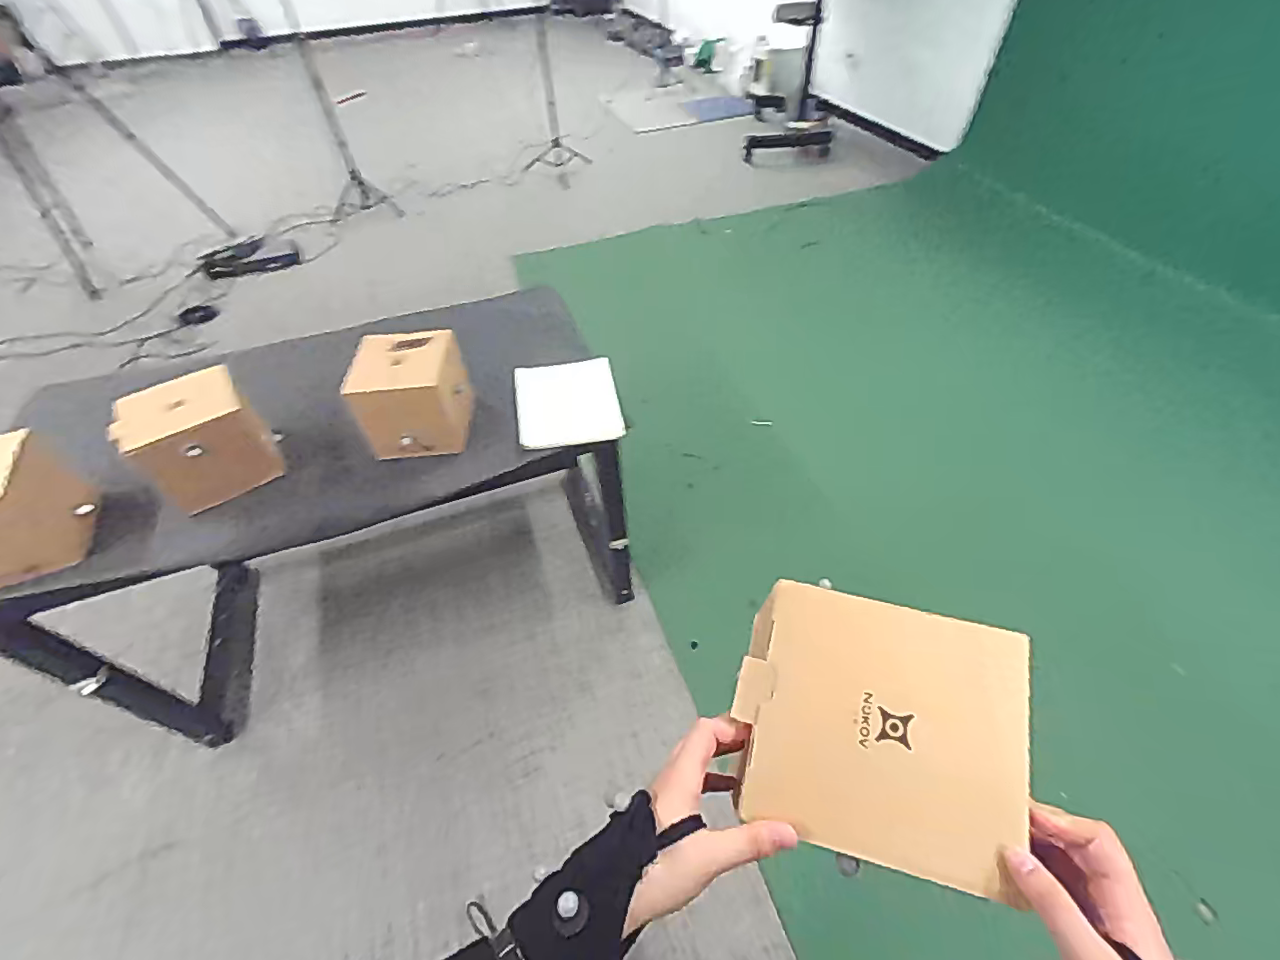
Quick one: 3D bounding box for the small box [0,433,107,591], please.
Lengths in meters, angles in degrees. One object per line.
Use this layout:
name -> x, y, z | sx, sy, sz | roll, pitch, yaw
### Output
small box -> -1.046, 0.057, 0.895 | 0.168, 0.176, 0.179 | -20, 51, -15

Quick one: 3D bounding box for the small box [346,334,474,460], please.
small box -> -0.432, -0.160, 1.053 | 0.168, 0.176, 0.179 | -5, 49, -1

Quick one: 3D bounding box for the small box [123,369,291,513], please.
small box -> -0.789, -0.069, 0.996 | 0.179, 0.176, 0.168 | -29, 54, -23
